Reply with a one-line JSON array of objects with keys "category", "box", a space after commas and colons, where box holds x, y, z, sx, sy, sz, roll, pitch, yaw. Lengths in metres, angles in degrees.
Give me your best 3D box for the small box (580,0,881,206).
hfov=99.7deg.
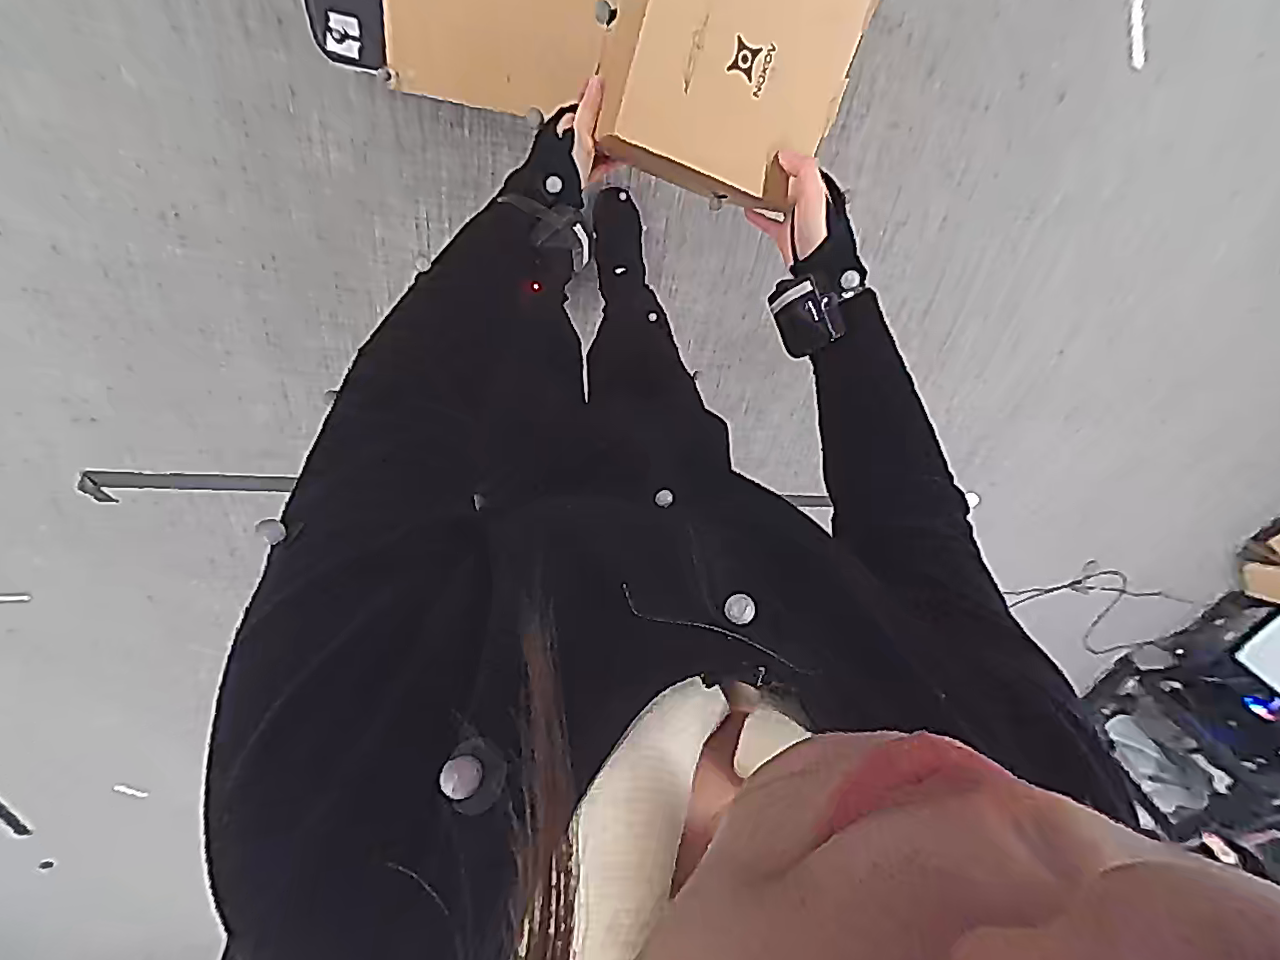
[{"category": "small box", "box": [0.062, -0.361, 0.473, 0.179, 0.176, 0.168, 10, 114, -22]}]
